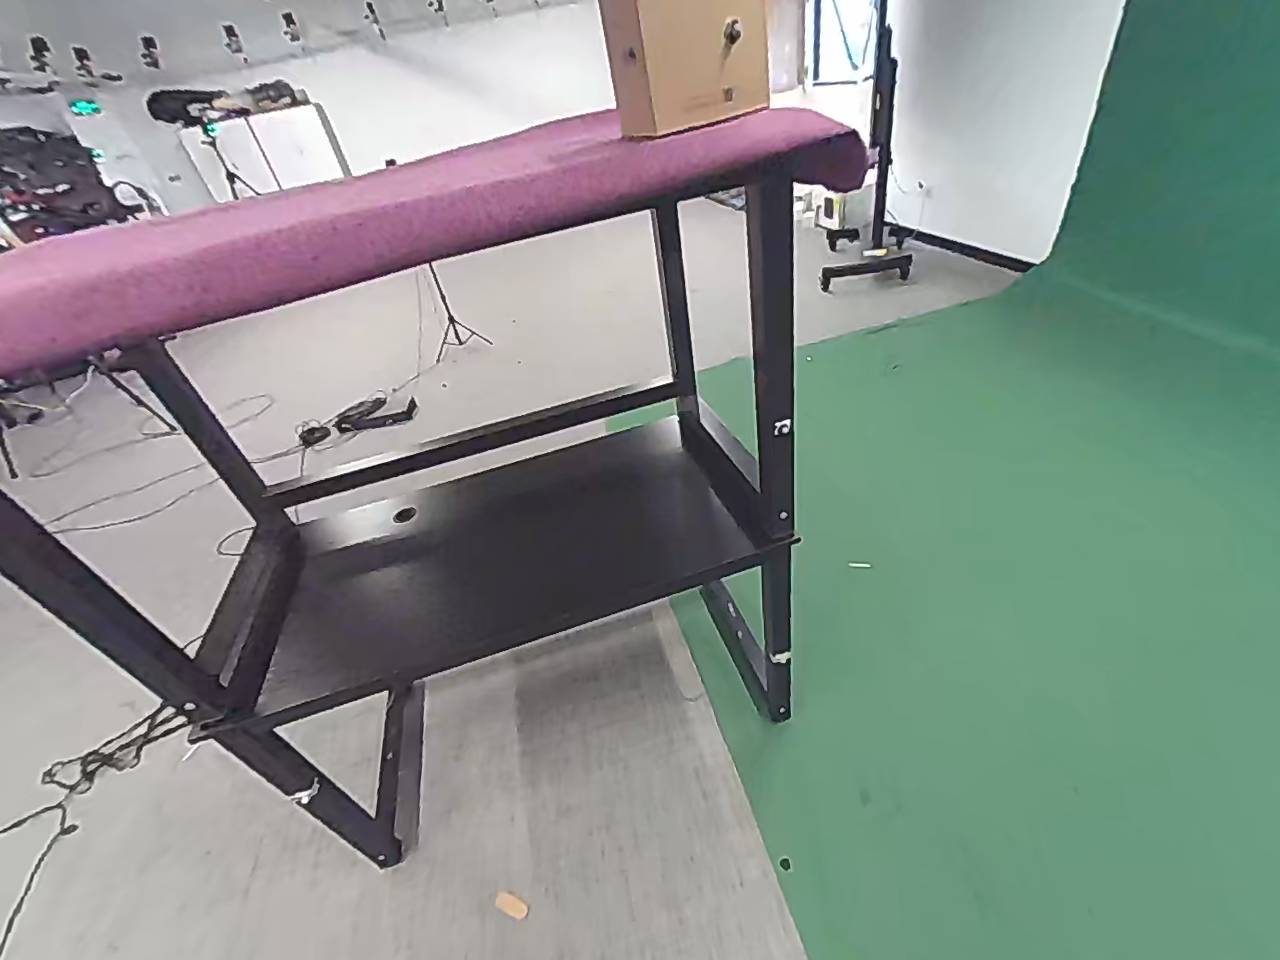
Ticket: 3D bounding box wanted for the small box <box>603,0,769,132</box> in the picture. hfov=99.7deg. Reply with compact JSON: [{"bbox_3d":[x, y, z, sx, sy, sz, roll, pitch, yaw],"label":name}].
[{"bbox_3d":[0.062,-0.580,0.723,0.168,0.176,0.179,-18,35,-8],"label":"small box"}]
